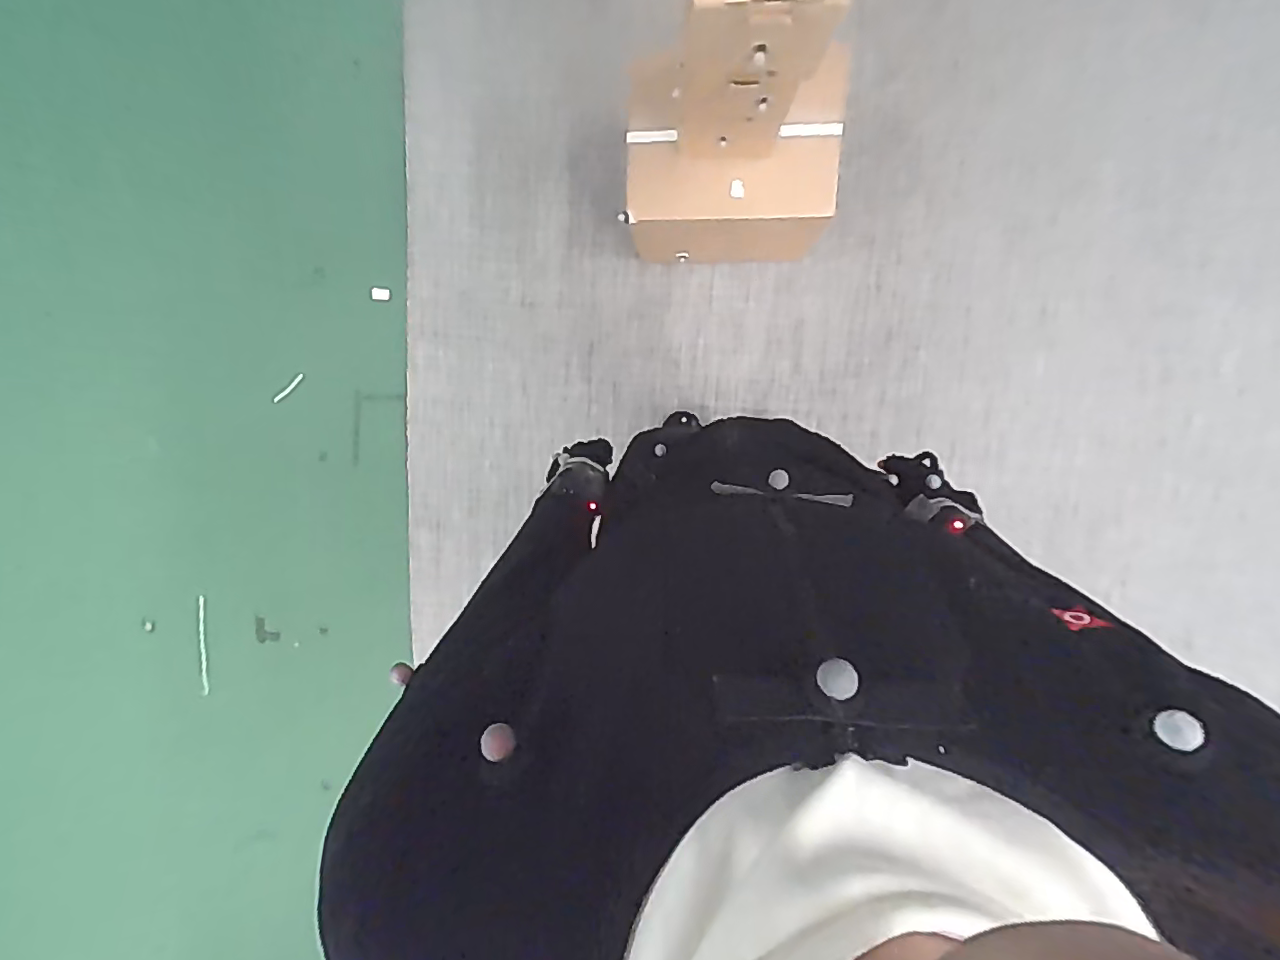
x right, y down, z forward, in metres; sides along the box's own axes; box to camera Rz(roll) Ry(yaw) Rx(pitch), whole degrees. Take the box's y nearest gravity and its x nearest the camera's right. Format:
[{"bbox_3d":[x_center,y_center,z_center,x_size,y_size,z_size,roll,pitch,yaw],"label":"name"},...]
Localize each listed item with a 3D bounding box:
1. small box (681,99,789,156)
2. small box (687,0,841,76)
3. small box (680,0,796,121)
[{"bbox_3d":[0.161,-0.684,0.943,0.179,0.176,0.168,1,104,6],"label":"small box"},{"bbox_3d":[0.142,-0.602,0.629,0.168,0.176,0.179,2,104,5],"label":"small box"},{"bbox_3d":[0.145,-0.647,0.787,0.168,0.176,0.179,1,102,4],"label":"small box"}]
